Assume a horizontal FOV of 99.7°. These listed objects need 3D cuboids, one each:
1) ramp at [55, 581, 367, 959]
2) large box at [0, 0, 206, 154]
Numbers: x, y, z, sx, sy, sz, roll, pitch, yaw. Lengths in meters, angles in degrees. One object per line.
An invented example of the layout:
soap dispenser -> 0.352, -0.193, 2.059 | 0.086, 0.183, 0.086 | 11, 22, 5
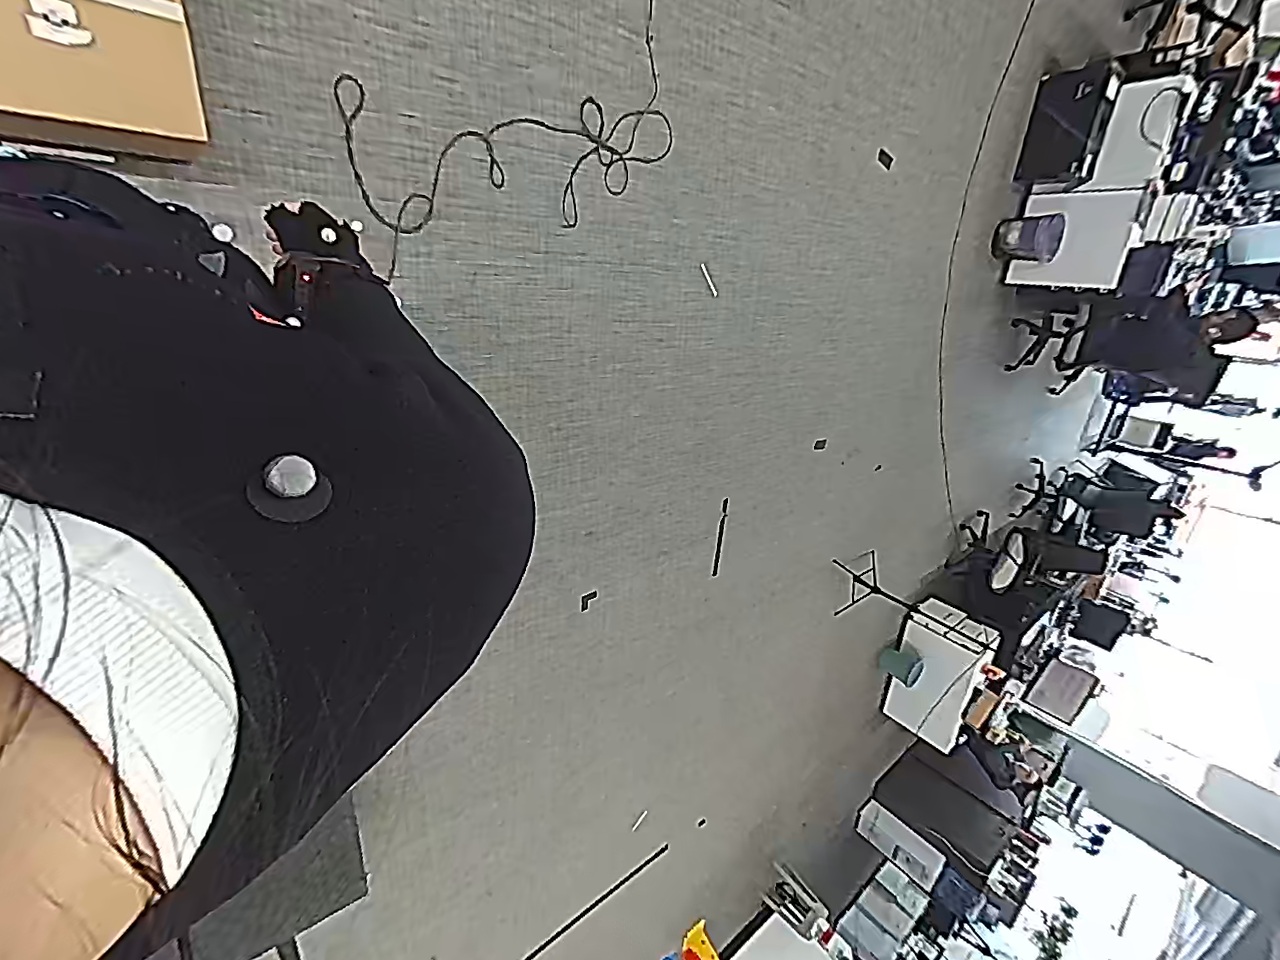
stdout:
ramp -> -1.026, 0.784, 1.377 | 0.509, 0.206, 0.991 | -12, 116, -36
large box -> -0.899, -0.674, 0.749 | 0.408, 0.320, 0.320 | -14, 118, -38
